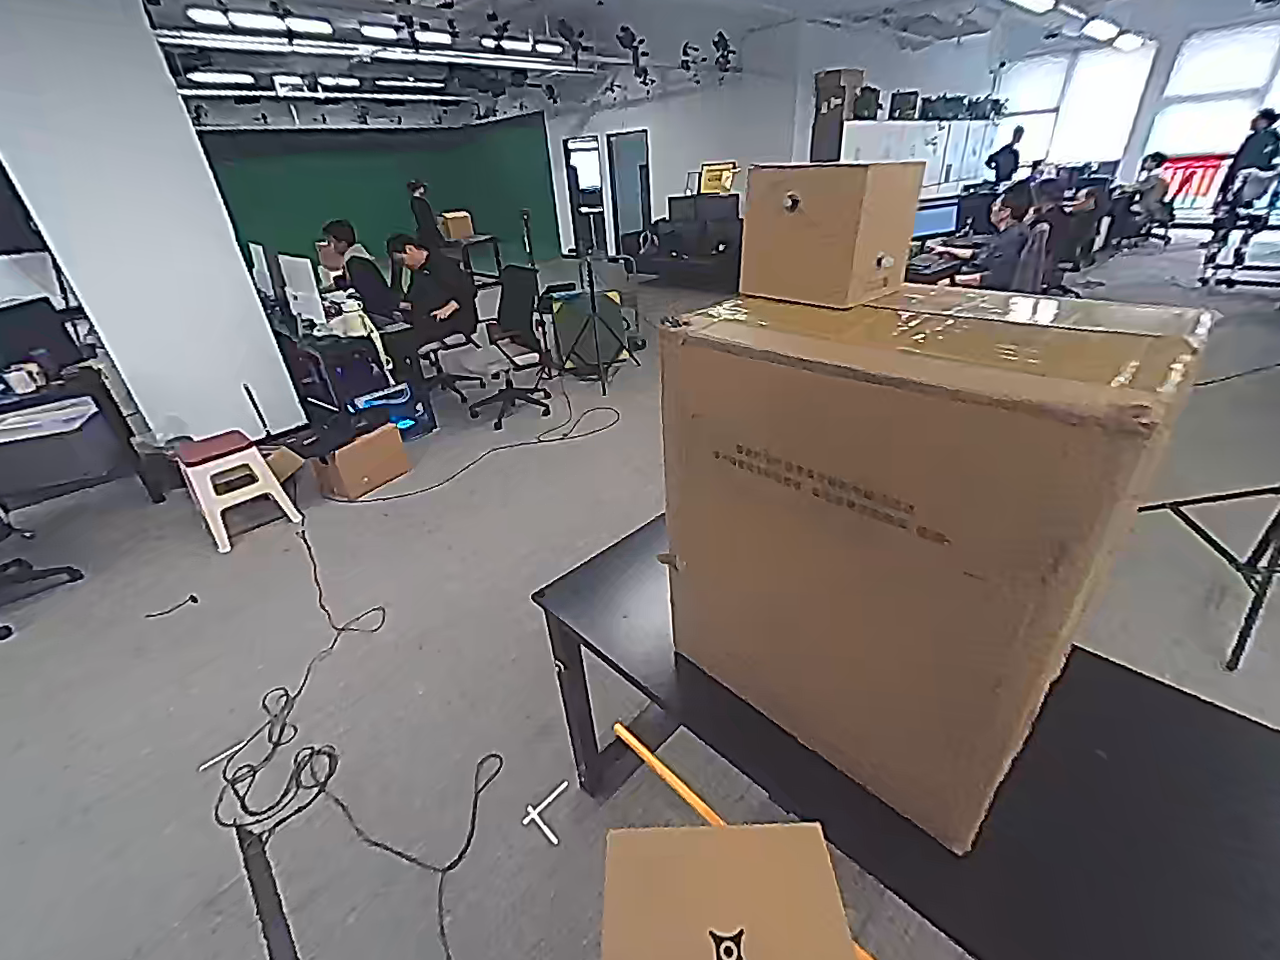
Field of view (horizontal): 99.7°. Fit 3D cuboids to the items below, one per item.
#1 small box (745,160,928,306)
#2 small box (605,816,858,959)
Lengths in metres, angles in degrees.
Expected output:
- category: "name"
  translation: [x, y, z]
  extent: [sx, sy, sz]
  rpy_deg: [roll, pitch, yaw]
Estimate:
- category: "small box"
  translation: [0.265, -0.348, 0.761]
  extent: [0.168, 0.176, 0.179]
  rpy_deg: [-26, 38, -36]
- category: "small box"
  translation: [0.062, 0.376, 0.386]
  extent: [0.168, 0.176, 0.179]
  rpy_deg: [-3, 29, 2]
